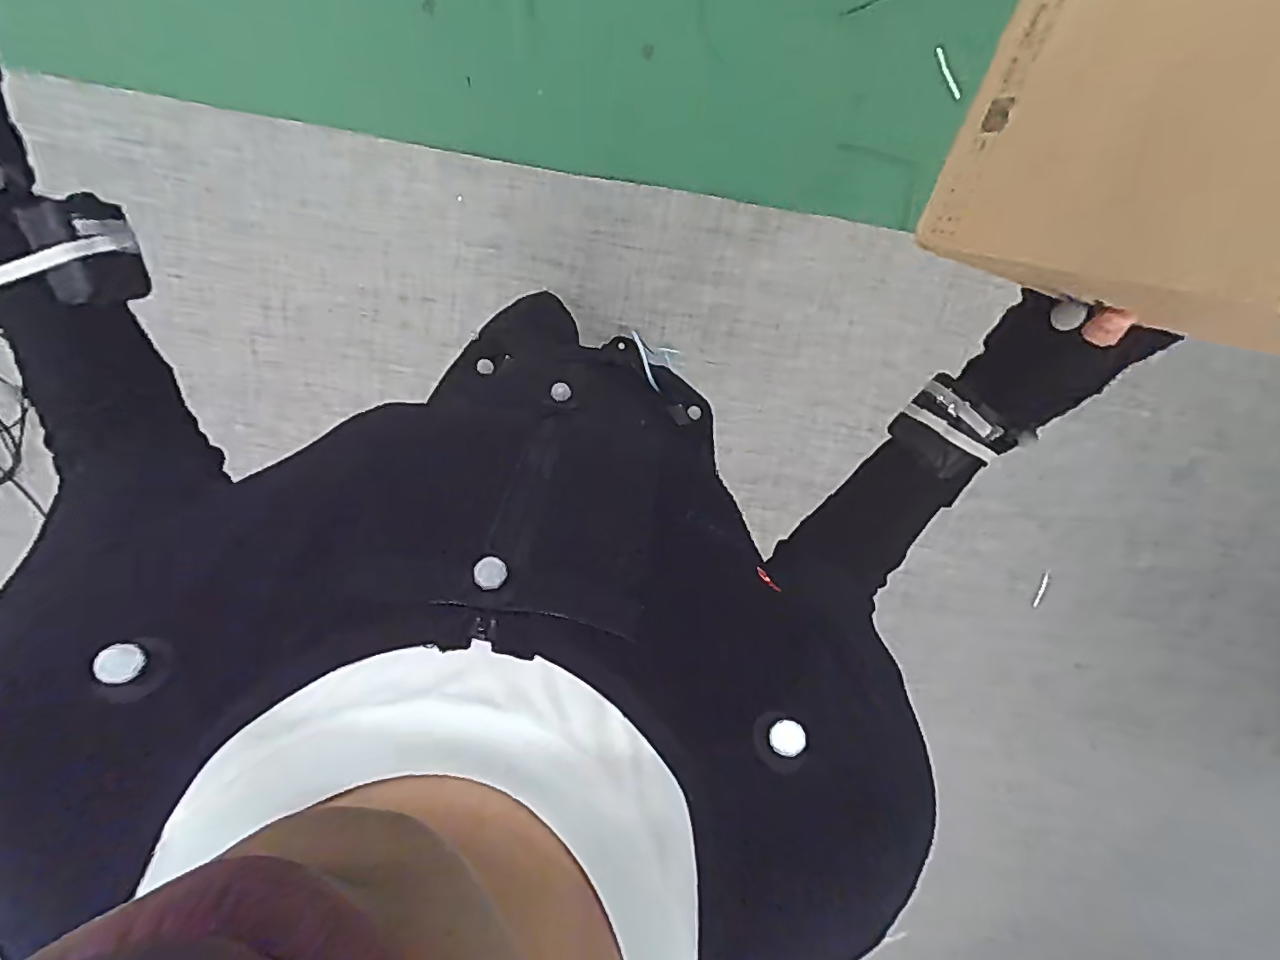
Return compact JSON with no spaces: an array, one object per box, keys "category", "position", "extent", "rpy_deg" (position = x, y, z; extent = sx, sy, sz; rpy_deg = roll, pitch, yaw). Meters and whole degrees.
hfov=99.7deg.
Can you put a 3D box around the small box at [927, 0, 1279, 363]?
[{"category":"small box","position":[0.272,-0.148,0.224],"extent":[0.179,0.176,0.168],"rpy_deg":[8,116,-21]}]
